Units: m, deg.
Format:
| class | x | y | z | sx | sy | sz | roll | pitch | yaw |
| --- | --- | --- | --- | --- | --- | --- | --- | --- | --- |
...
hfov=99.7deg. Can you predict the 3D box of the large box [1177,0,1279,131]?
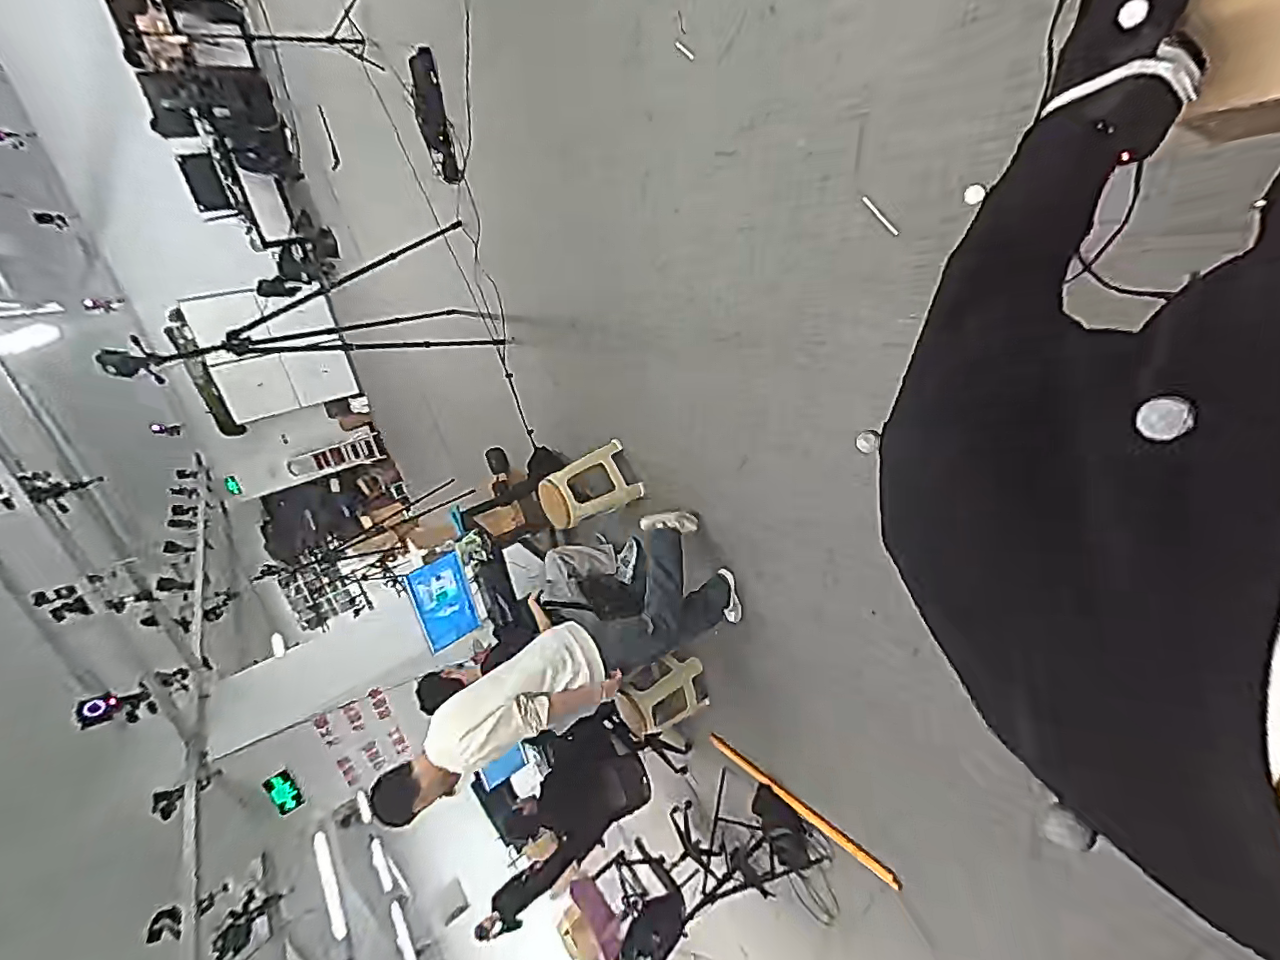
| class | x | y | z | sx | sy | sz | roll | pitch | yaw |
| --- | --- | --- | --- | --- | --- | --- | --- | --- | --- |
| large box | 0.657 | -0.464 | 0.340 | 0.408 | 0.320 | 0.320 | 14 | 120 | 46 |
